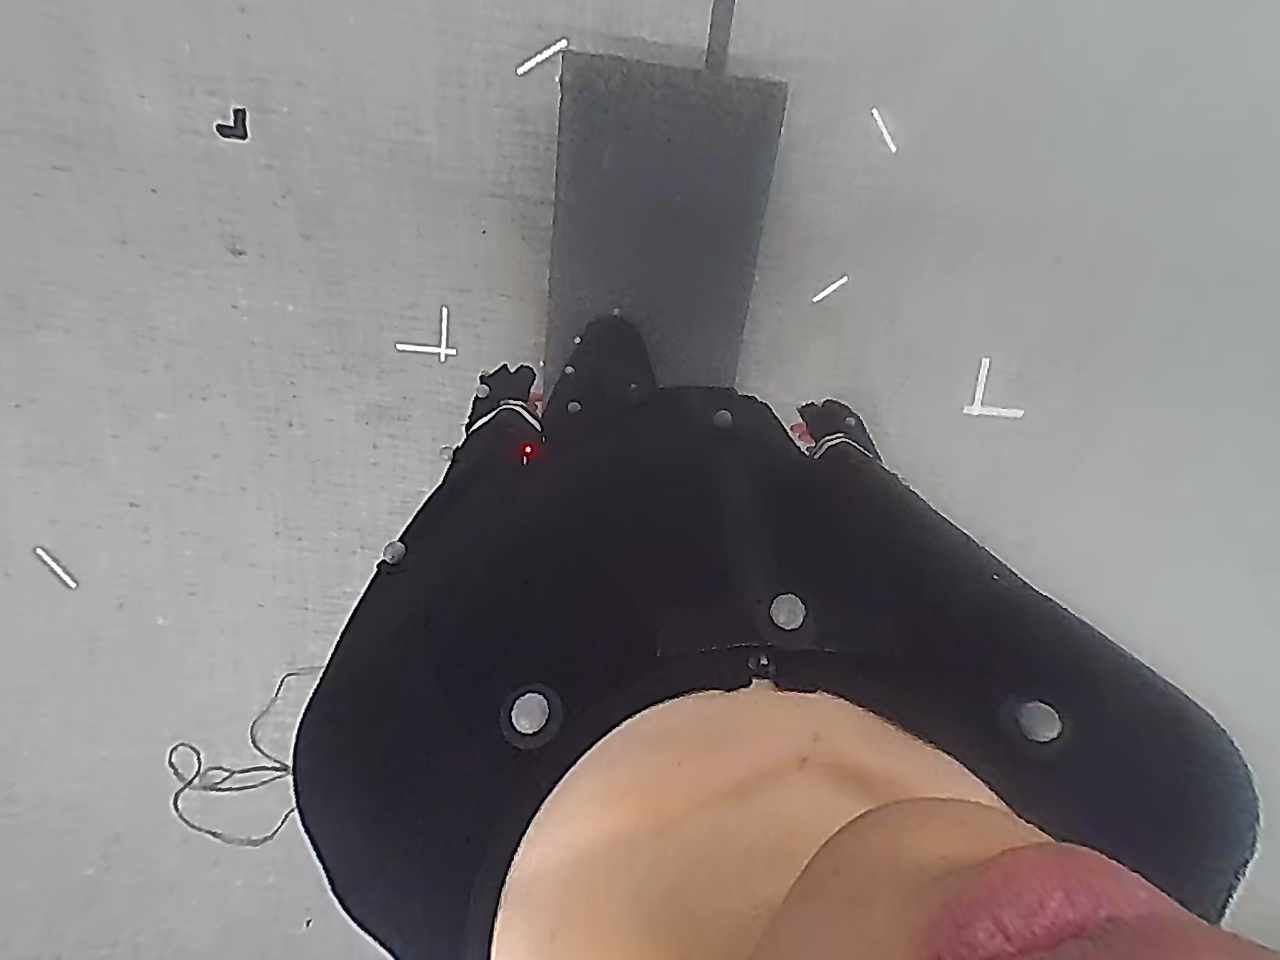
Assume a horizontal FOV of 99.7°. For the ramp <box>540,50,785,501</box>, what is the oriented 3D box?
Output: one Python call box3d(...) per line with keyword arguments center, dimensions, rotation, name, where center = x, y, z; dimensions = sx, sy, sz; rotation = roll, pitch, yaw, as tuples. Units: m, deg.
box3d(center=(0.020, -0.422, 1.331), dimensions=(0.509, 0.206, 0.991), rotation=(4, 102, -4), name="ramp")
